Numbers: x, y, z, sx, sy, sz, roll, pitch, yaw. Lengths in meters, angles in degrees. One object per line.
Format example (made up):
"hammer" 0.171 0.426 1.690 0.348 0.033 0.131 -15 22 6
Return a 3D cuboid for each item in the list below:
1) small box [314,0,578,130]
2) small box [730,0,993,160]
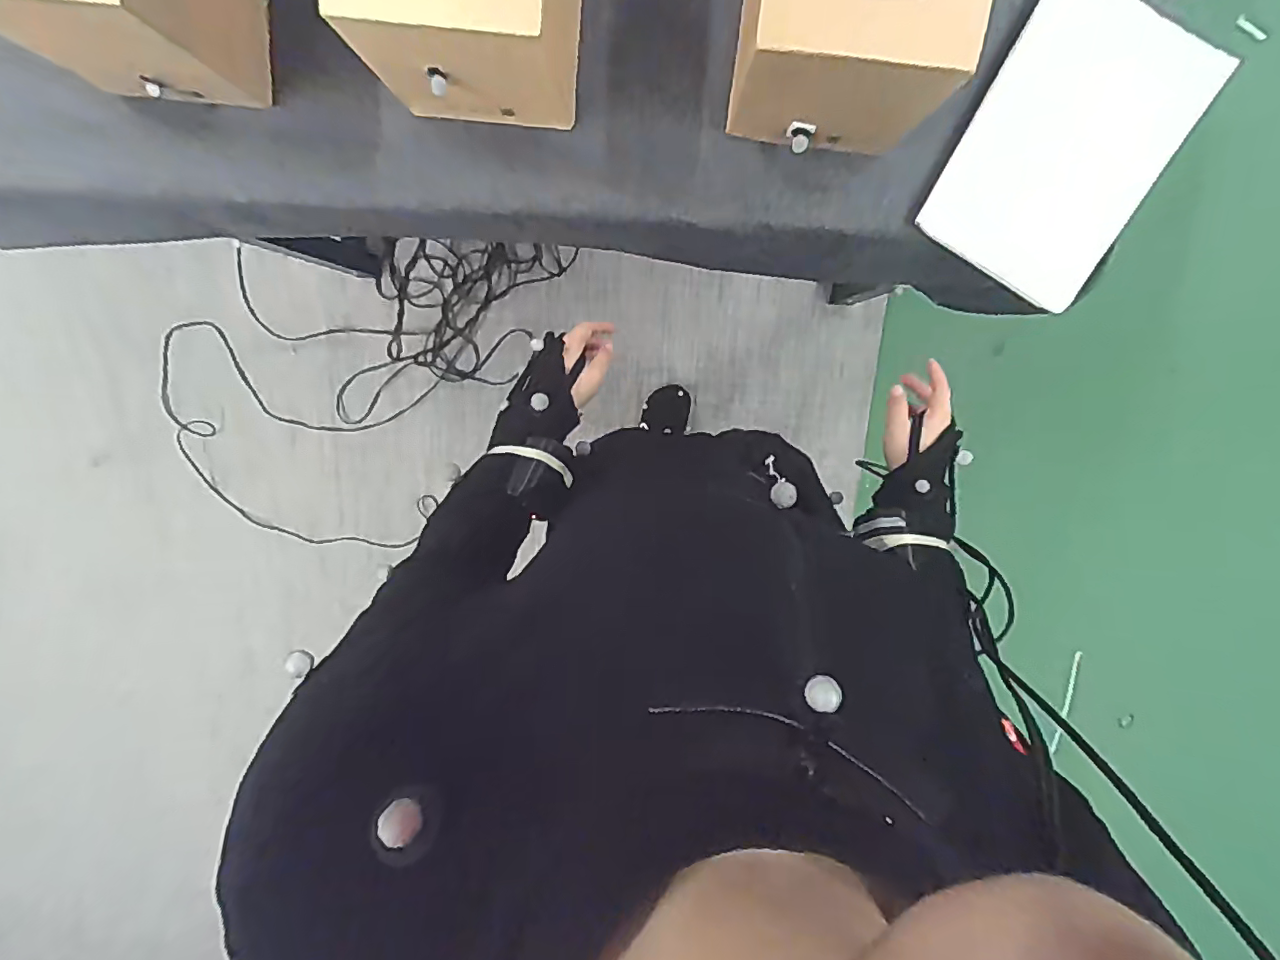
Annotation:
"small box" -0.145 -0.426 0.454 0.168 0.176 0.179 5 101 0
"small box" 0.175 -0.402 0.453 0.168 0.176 0.179 7 103 1
